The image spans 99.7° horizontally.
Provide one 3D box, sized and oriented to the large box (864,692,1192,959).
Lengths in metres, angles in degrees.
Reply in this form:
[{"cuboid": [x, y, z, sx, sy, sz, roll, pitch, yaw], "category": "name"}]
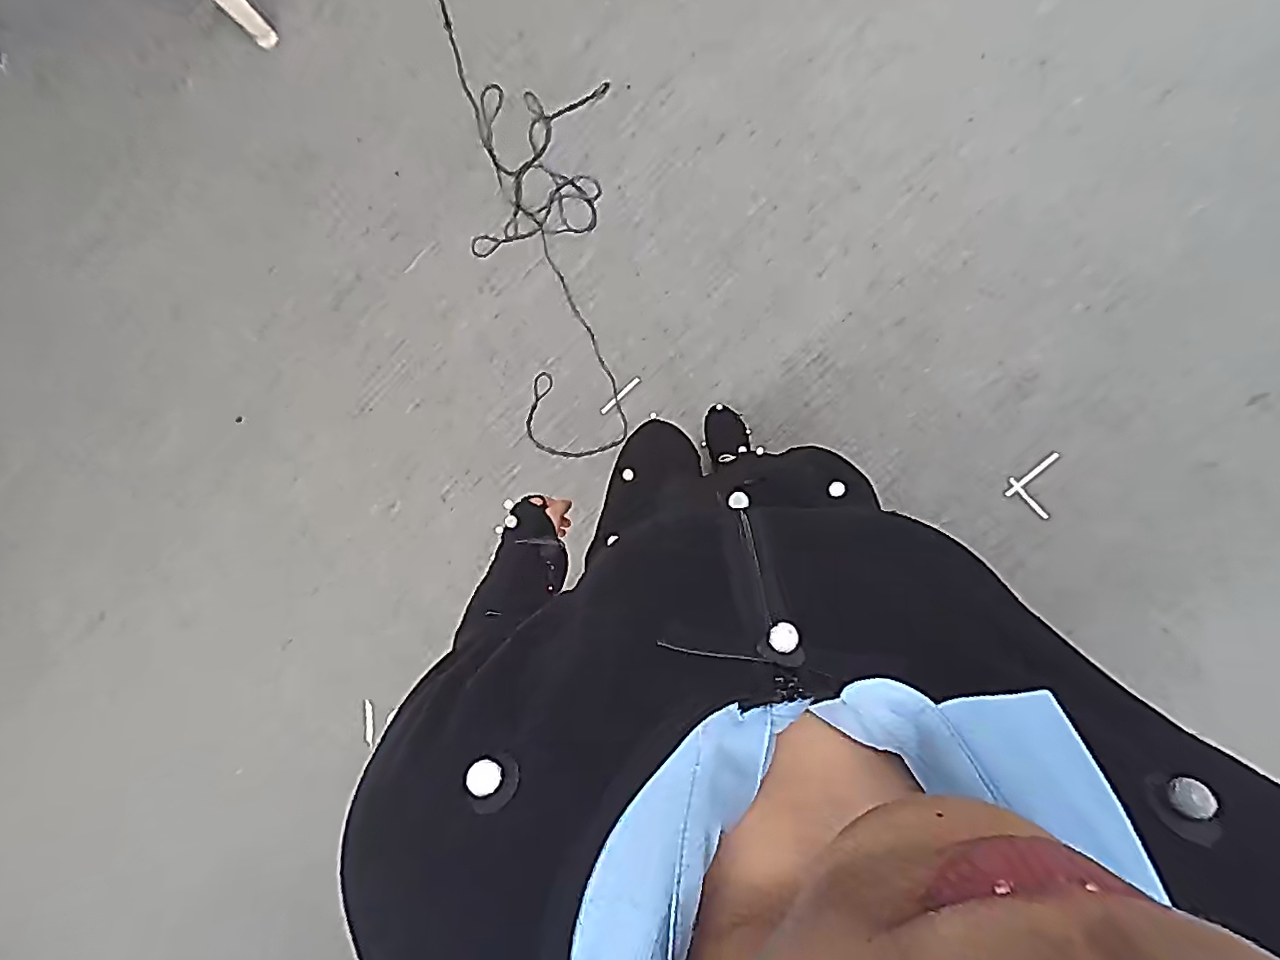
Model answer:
[{"cuboid": [0.771, 0.743, 1.153, 0.408, 0.320, 0.320, -37, 91, 10], "category": "large box"}]
